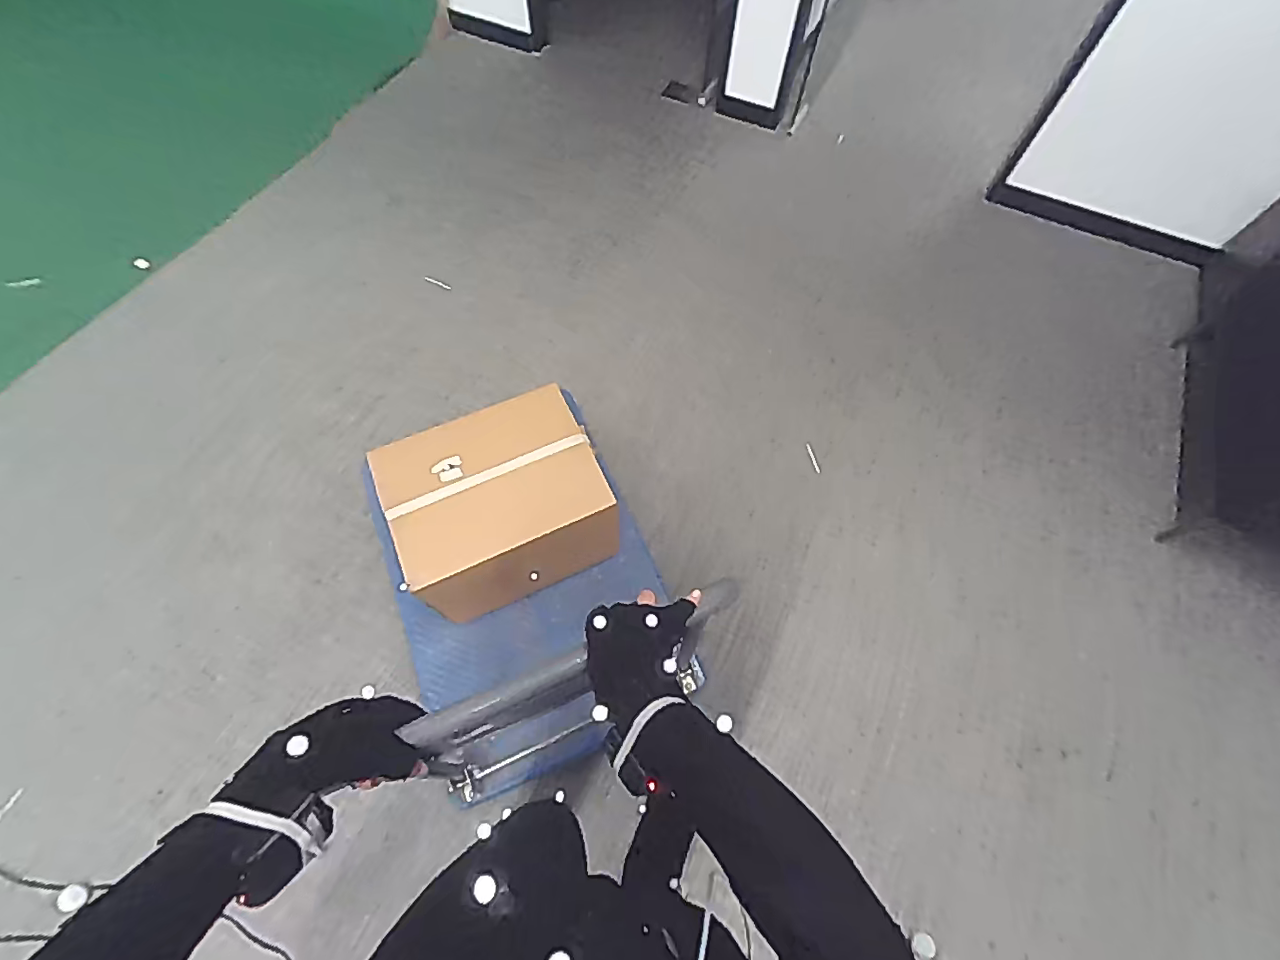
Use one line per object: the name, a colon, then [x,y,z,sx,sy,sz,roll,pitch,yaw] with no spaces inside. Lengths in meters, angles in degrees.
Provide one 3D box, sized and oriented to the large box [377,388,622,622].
large box: [-0.282,0.065,1.191,0.408,0.320,0.320,-23,67,-12]
